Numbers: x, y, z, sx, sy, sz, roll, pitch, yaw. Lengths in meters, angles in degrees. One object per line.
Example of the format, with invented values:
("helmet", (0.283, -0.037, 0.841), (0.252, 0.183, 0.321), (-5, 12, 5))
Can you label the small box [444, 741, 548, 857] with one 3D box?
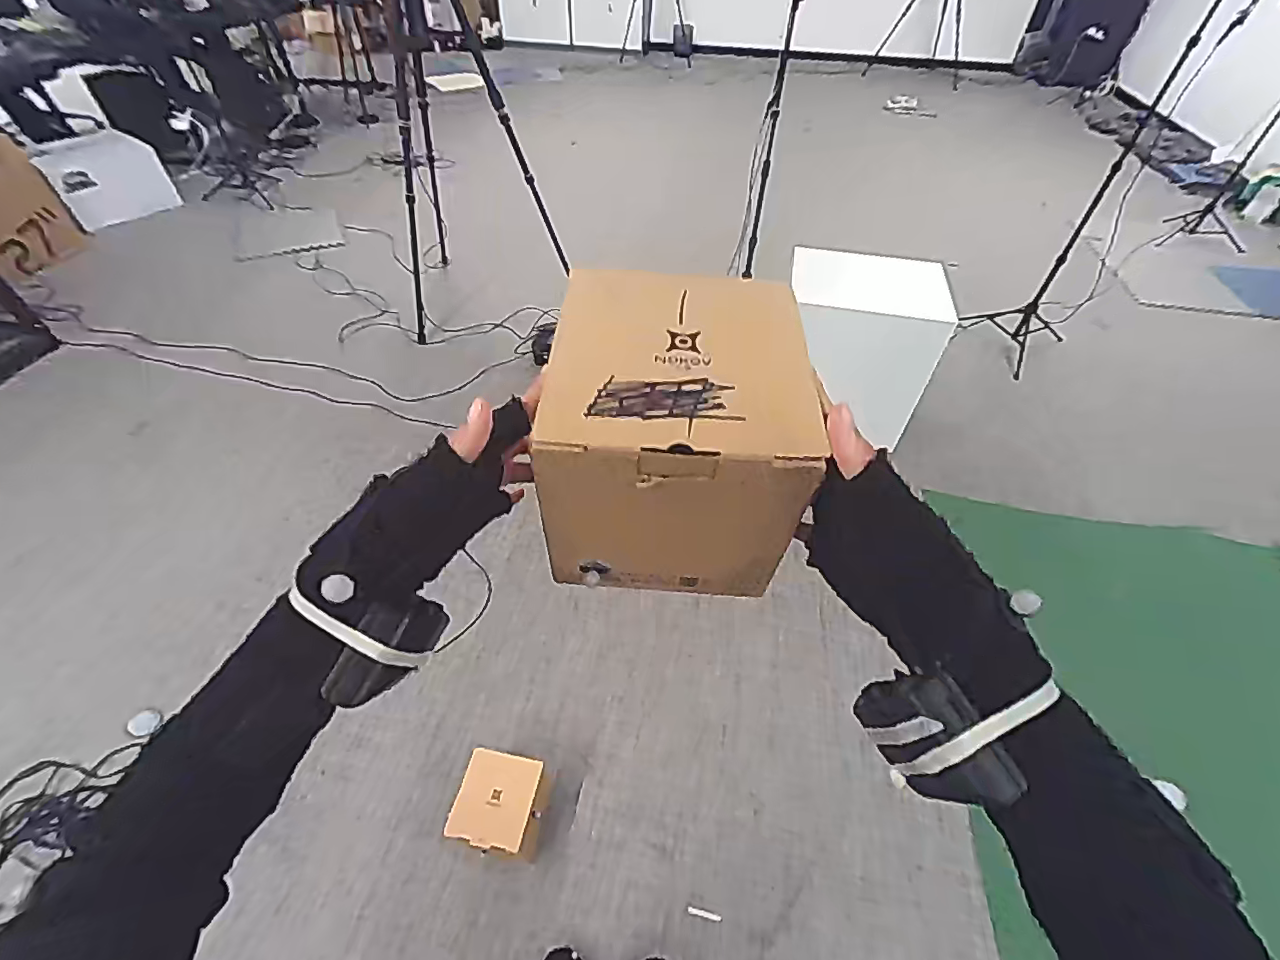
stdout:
("small box", (-0.314, 0.724, 1.223), (0.168, 0.176, 0.179), (9, 48, 7))
